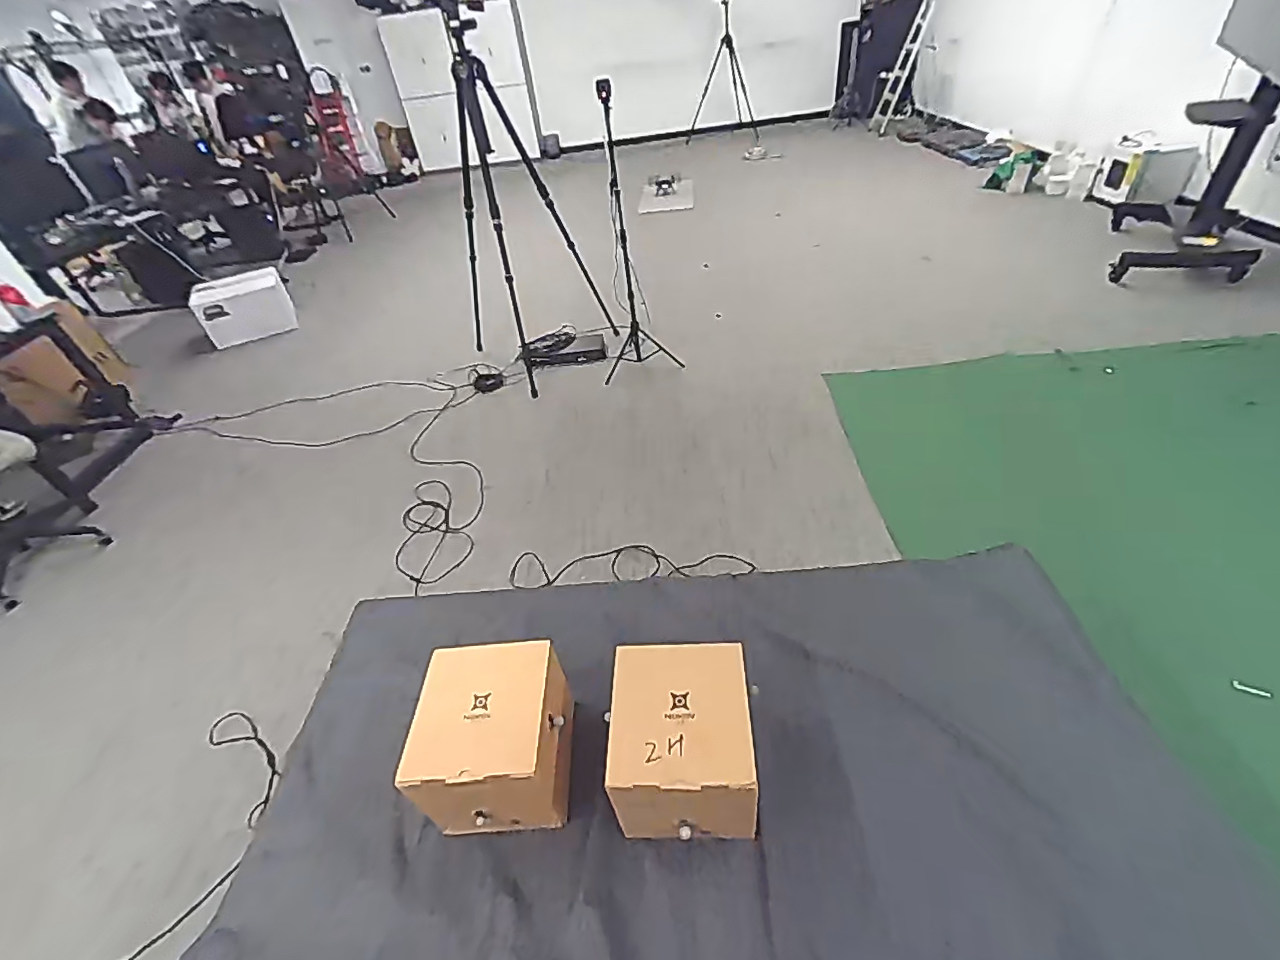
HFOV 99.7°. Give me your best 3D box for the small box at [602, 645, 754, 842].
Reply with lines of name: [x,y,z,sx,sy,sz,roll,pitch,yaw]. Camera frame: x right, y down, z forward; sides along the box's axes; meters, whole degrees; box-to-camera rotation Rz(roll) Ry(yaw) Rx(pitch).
small box: [0.051,0.334,0.692,0.168,0.176,0.179,-3,41,6]

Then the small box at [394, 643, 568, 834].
small box: [-0.194,0.345,0.725,0.168,0.176,0.179,-6,41,3]
